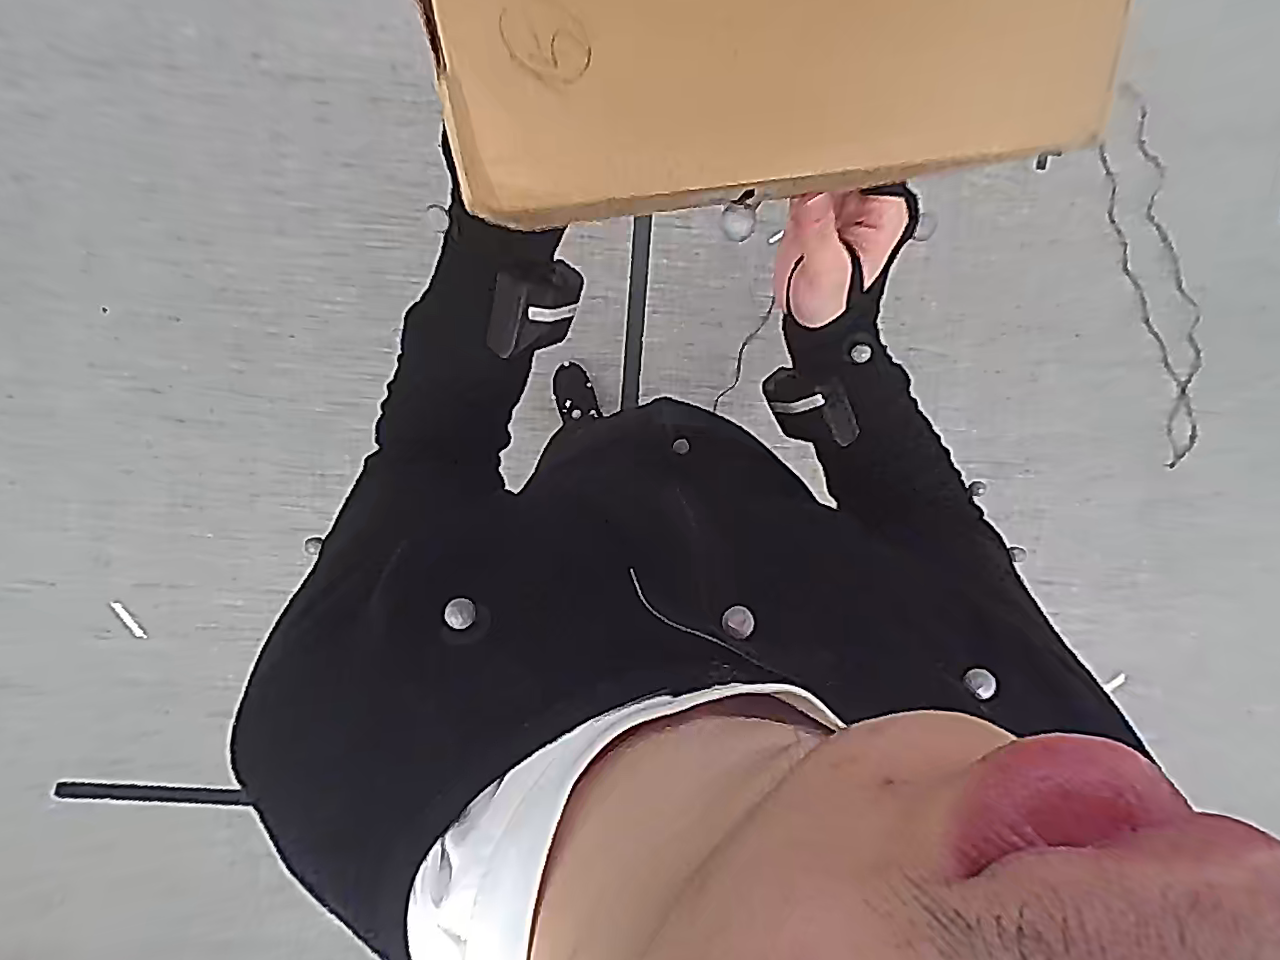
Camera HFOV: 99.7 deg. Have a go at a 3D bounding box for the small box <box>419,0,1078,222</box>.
[{"bbox_3d":[0.019,-0.197,0.197,0.179,0.176,0.168,-10,115,0],"label":"small box"}]
